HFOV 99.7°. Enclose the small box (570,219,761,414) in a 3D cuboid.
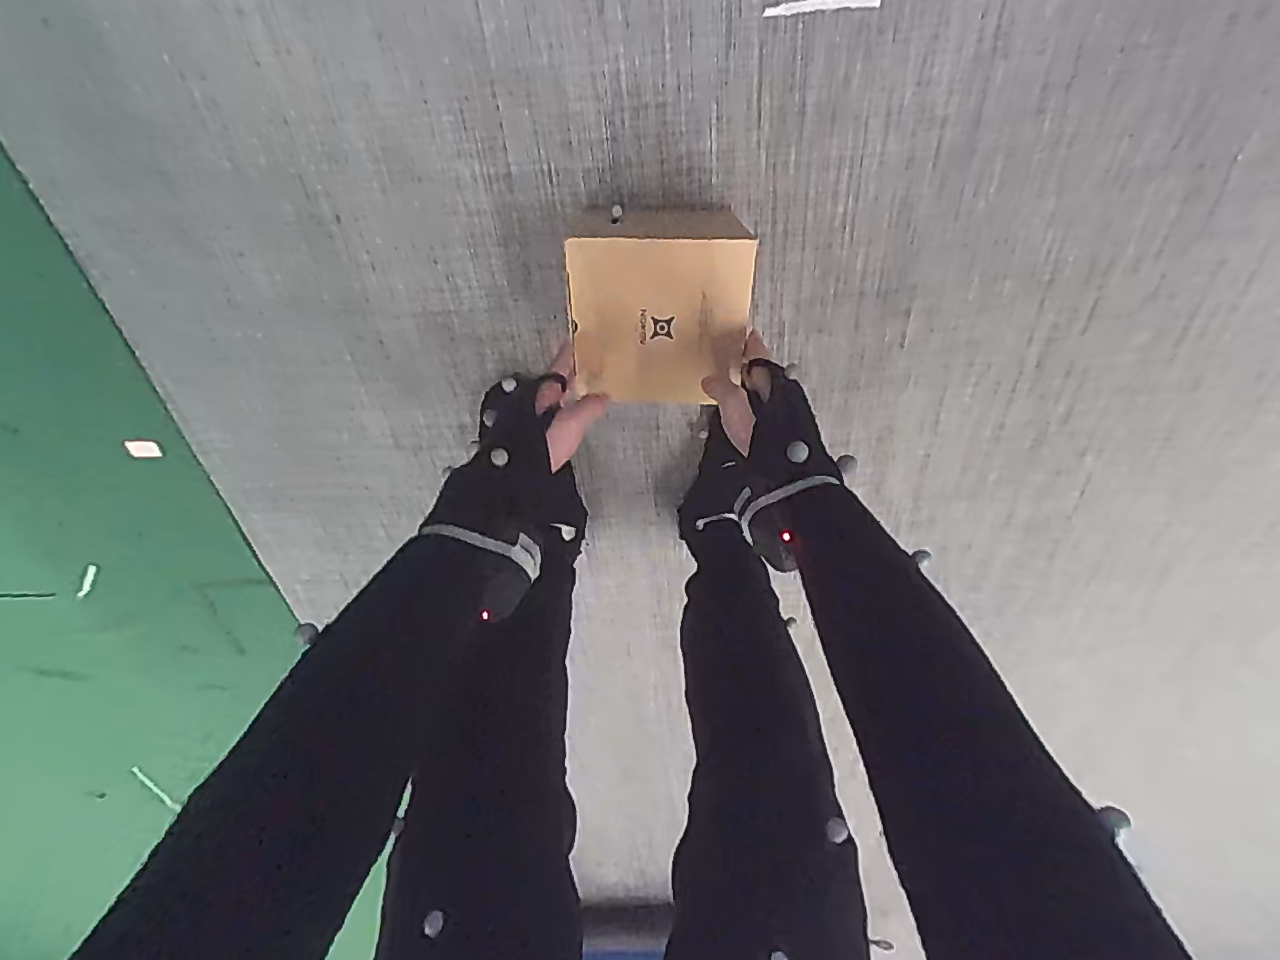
[{"bbox_3d":[0.024,-0.186,0.600,0.179,0.176,0.168,1,124,0],"label":"small box"}]
